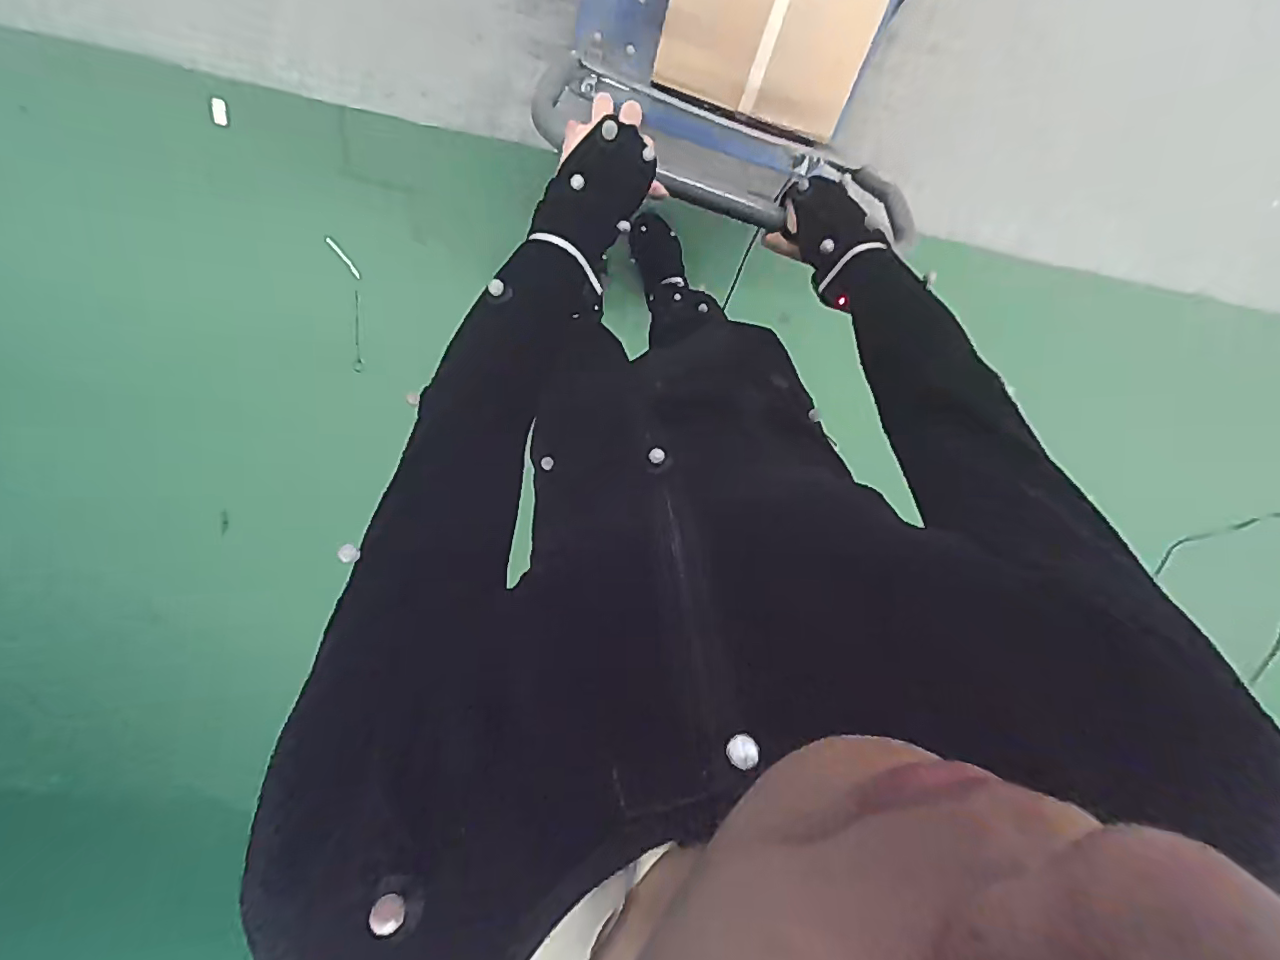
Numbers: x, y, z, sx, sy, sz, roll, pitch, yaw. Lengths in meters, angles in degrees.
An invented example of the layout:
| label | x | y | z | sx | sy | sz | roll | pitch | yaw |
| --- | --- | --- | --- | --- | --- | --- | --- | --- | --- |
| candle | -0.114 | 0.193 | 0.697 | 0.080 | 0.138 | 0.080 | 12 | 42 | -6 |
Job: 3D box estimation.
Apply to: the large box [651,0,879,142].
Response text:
| label | x | y | z | sx | sy | sz | roll | pitch | yaw |
| --- | --- | --- | --- | --- | --- | --- | --- | --- | --- |
| large box | 0.214 | -0.840 | 0.906 | 0.320 | 0.320 | 0.408 | 13 | 123 | -9 |
